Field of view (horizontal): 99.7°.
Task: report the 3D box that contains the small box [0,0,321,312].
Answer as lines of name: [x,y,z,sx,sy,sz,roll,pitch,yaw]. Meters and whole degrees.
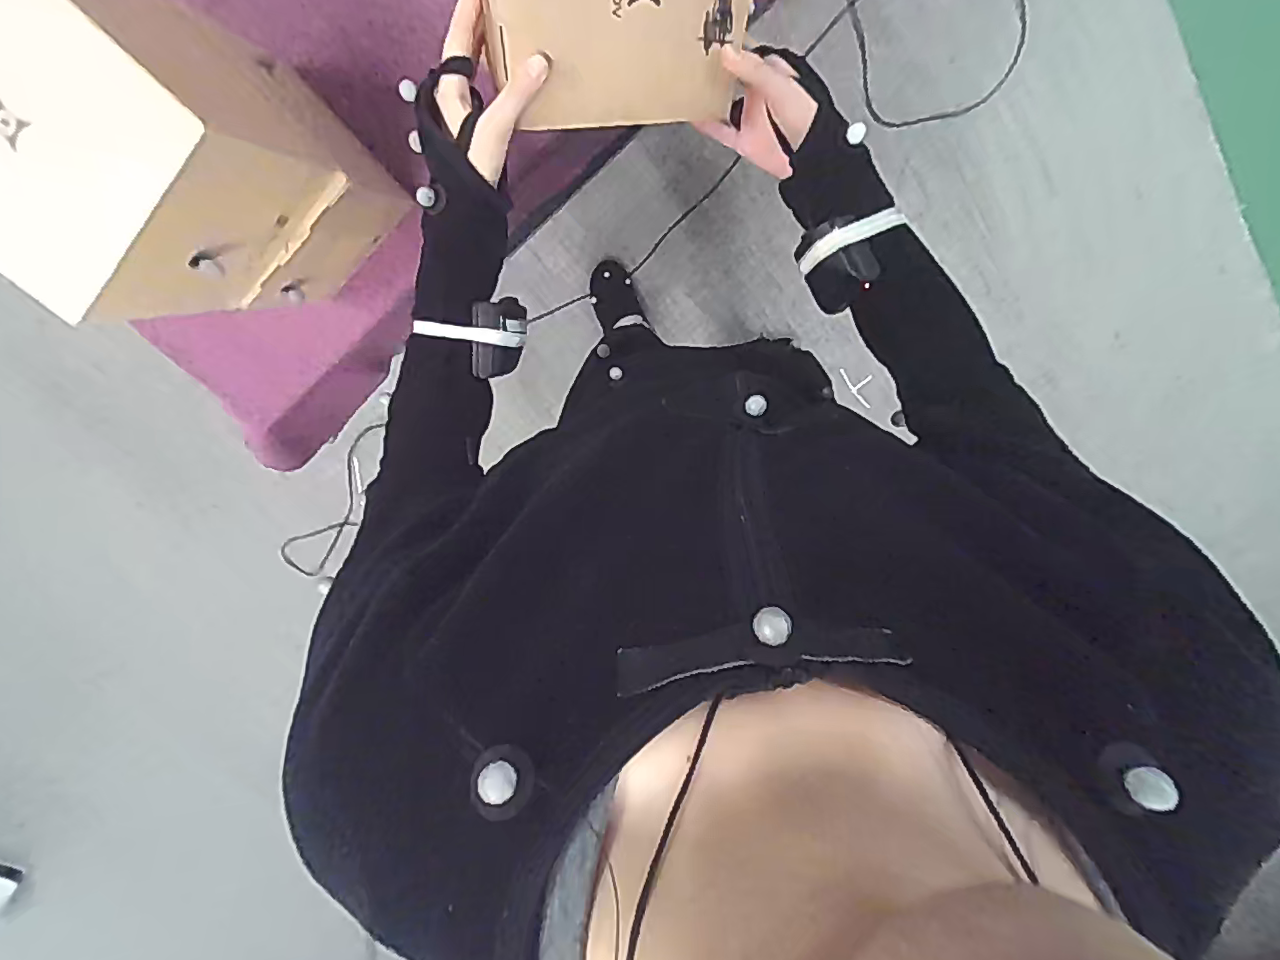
small box: [-0.381,-0.250,0.389,0.168,0.176,0.179,-42,106,14]
